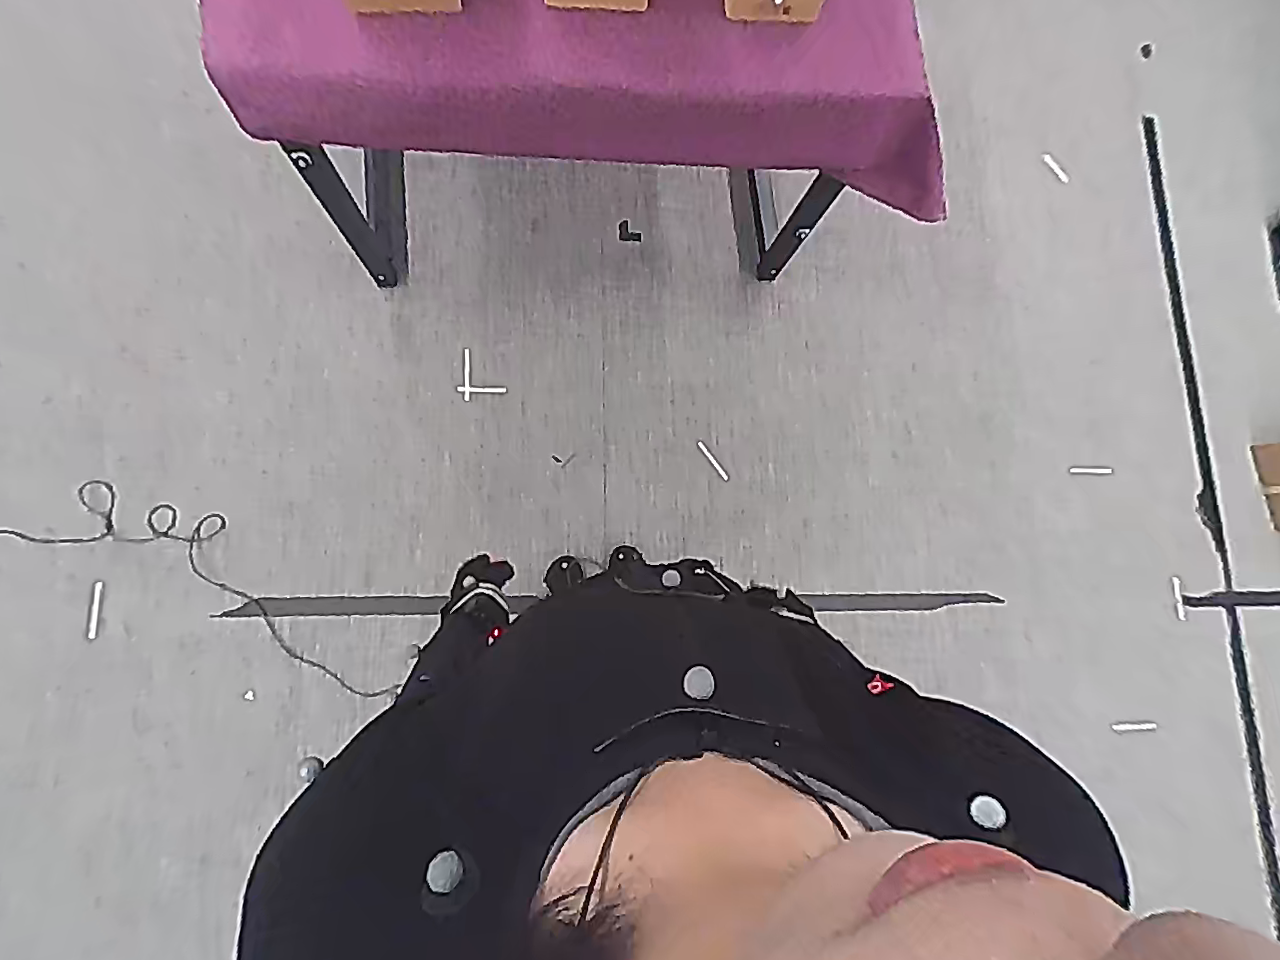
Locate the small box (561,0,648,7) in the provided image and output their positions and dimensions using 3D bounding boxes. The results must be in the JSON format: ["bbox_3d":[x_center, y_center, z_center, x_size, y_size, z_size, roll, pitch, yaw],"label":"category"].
[{"bbox_3d":[-0.064,-0.901,0.856,0.179,0.176,0.168,-5,83,-8],"label":"small box"}]

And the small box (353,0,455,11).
[{"bbox_3d":[-0.374,-0.851,0.808,0.179,0.176,0.168,-9,82,-8],"label":"small box"}]

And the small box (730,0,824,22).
[{"bbox_3d":[0.242,-0.921,0.899,0.168,0.176,0.179,-5,83,-8],"label":"small box"}]
